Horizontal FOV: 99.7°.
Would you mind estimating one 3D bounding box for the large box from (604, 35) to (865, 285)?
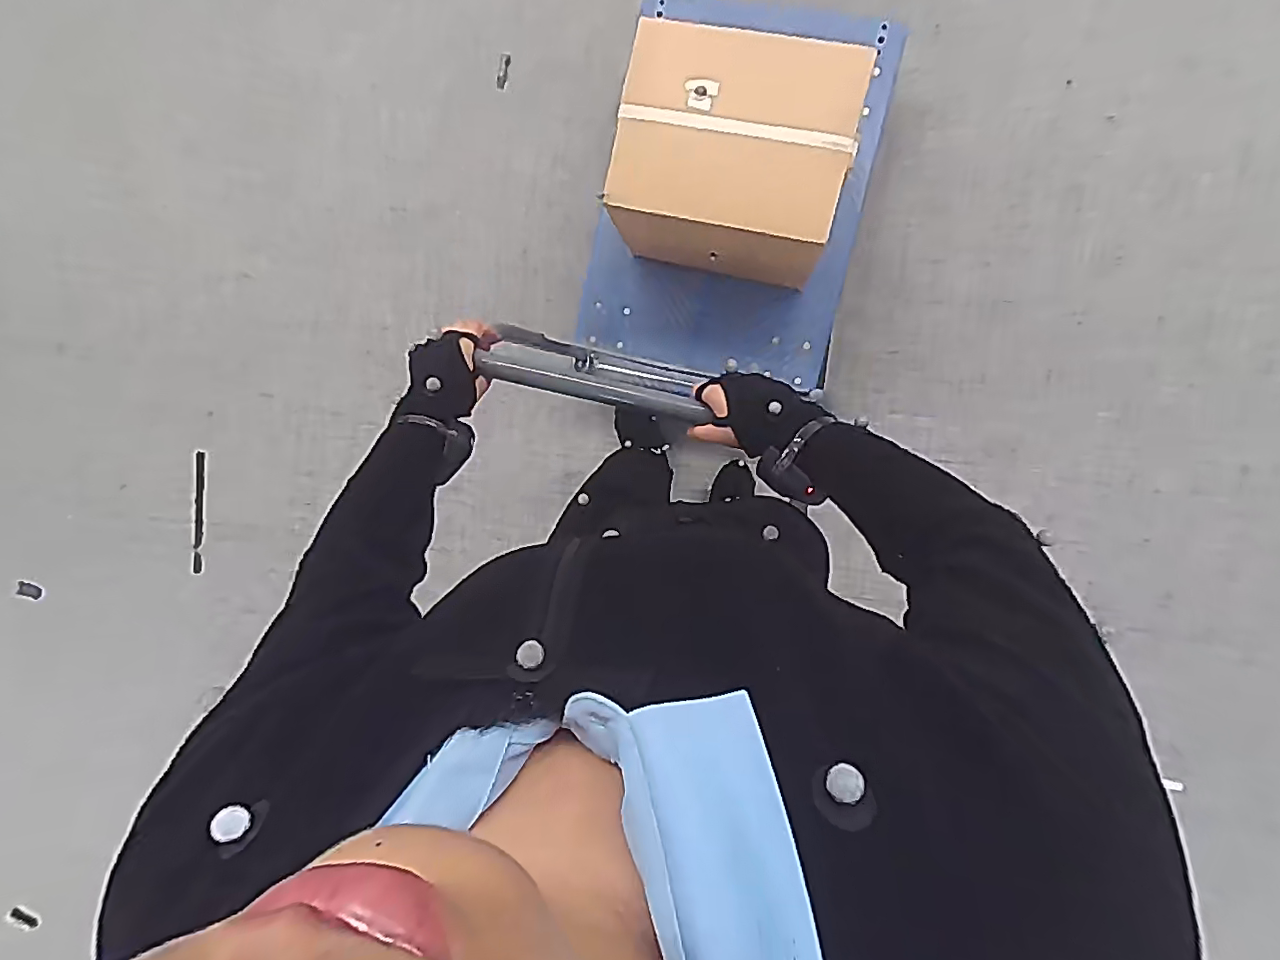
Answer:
[{"bbox_3d":[0.183,-0.613,1.092,0.408,0.320,0.320,14,97,9],"label":"large box"}]
